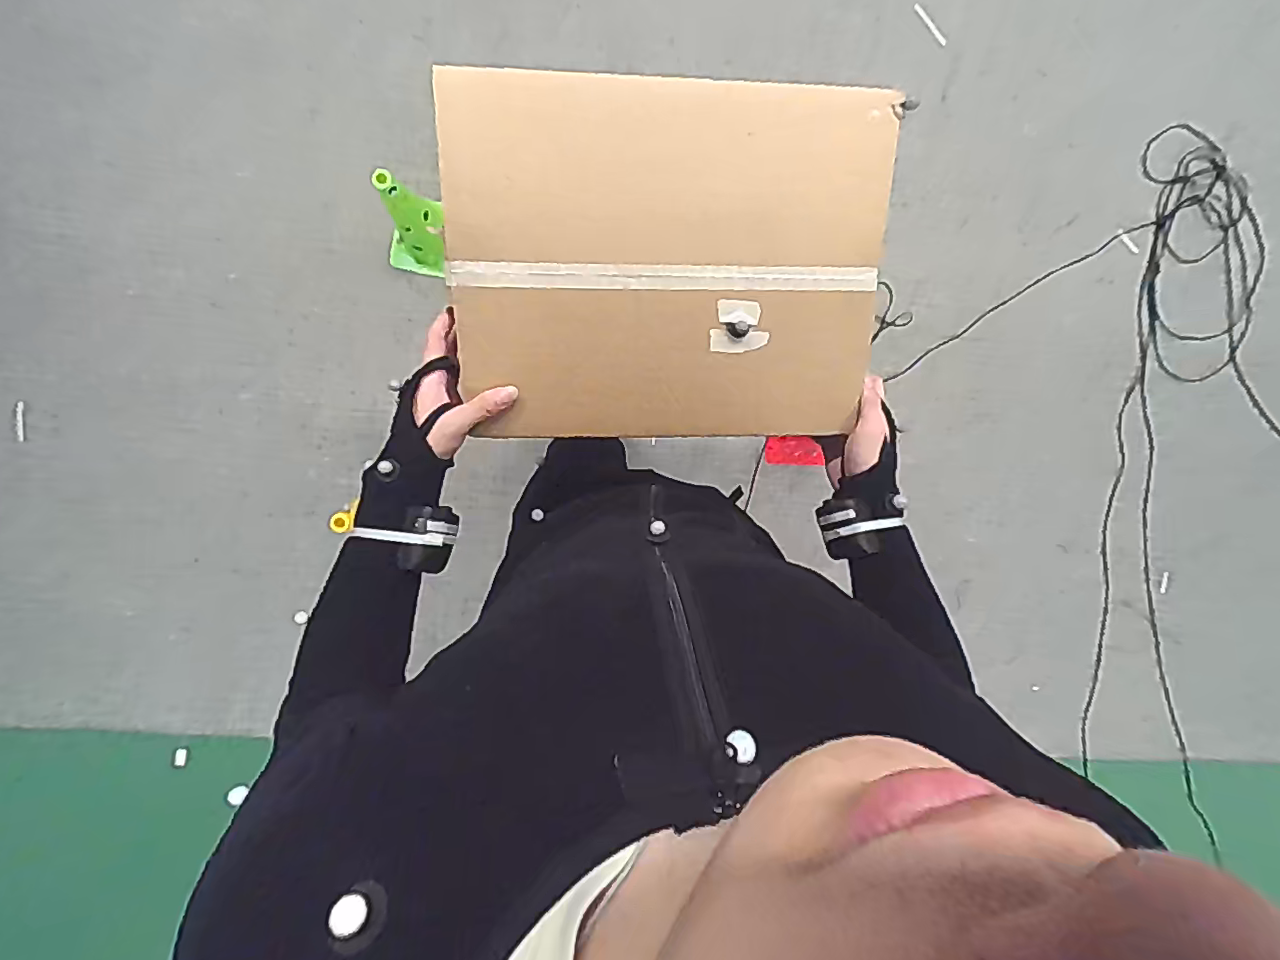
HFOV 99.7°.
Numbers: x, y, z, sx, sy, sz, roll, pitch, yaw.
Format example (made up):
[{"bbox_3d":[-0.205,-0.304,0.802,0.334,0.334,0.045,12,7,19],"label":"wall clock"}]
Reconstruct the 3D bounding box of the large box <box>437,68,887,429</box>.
[{"bbox_3d":[0.011,-0.252,0.656,0.408,0.320,0.320,-1,110,-6],"label":"large box"}]

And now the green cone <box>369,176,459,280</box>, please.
[{"bbox_3d":[-0.578,-0.655,1.335,0.200,0.368,0.202,10,95,-5],"label":"green cone"}]
